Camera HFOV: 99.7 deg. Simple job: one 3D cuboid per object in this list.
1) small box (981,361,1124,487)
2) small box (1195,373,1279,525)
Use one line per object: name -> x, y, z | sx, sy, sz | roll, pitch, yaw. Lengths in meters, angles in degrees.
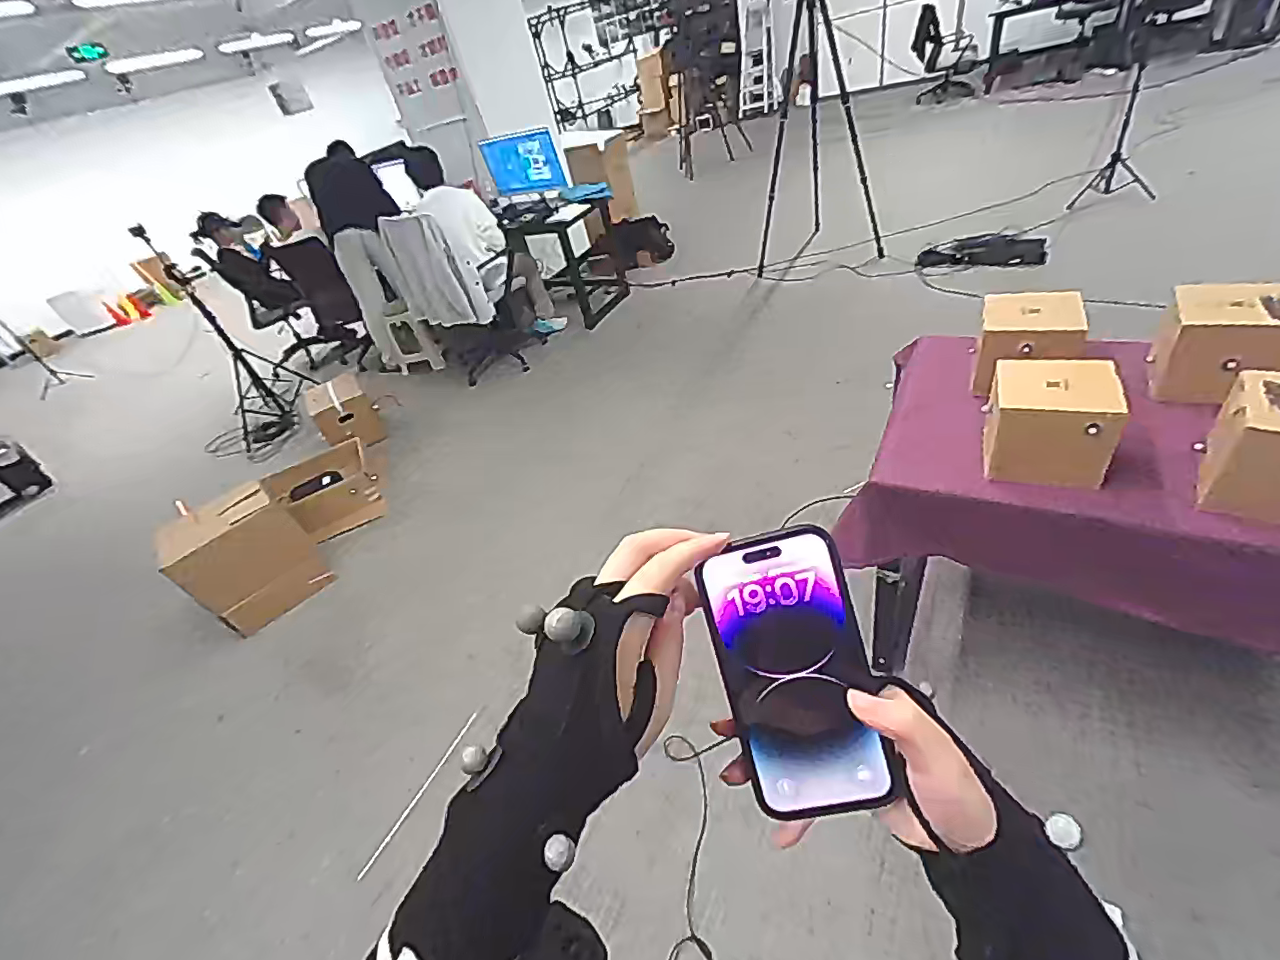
small box -> 0.742, -0.104, 0.997 | 0.179, 0.176, 0.168 | 8, 44, 26
small box -> 0.999, -0.042, 0.828 | 0.179, 0.176, 0.168 | 18, 50, 34
